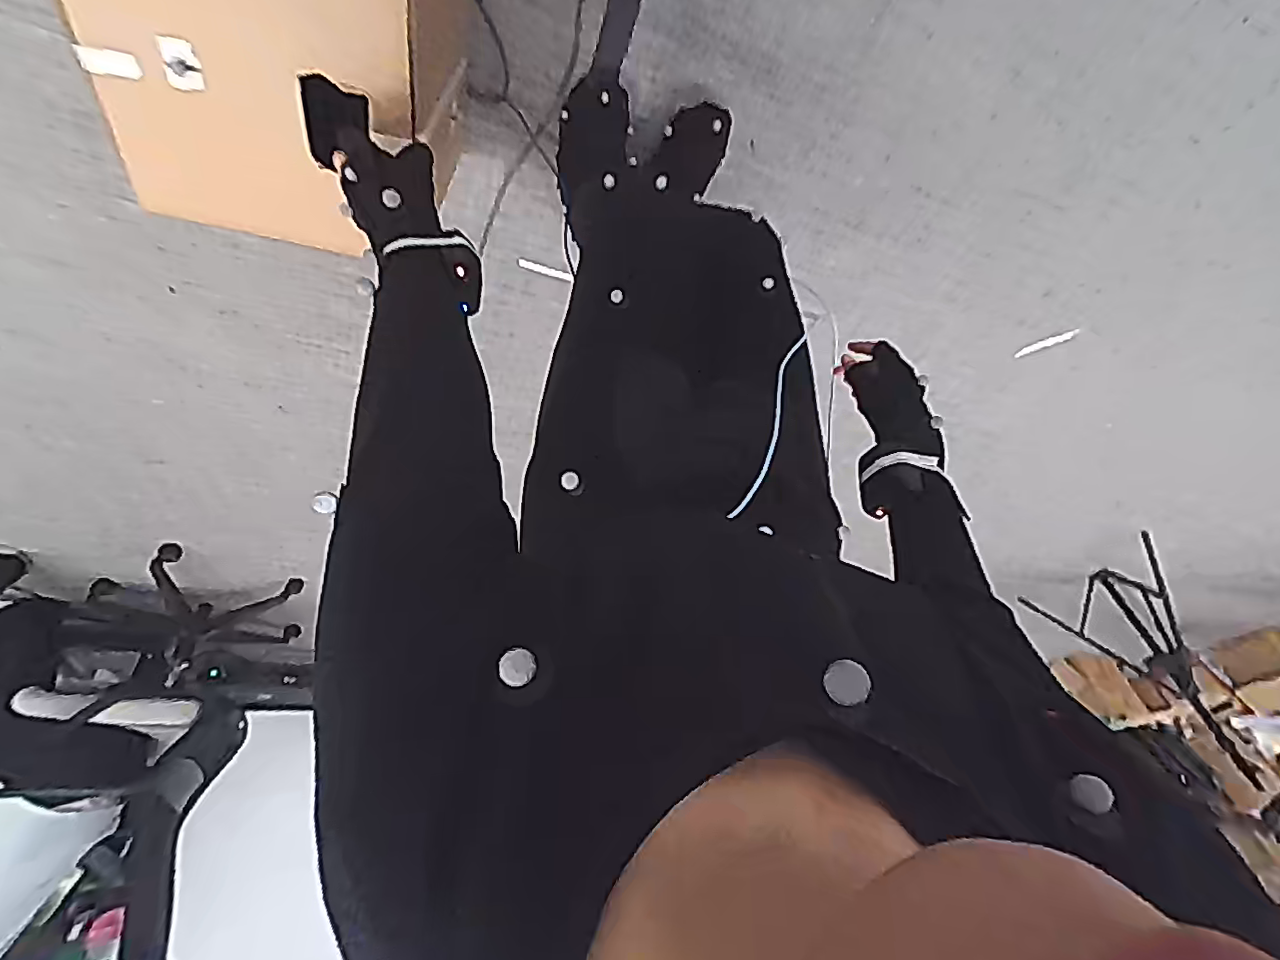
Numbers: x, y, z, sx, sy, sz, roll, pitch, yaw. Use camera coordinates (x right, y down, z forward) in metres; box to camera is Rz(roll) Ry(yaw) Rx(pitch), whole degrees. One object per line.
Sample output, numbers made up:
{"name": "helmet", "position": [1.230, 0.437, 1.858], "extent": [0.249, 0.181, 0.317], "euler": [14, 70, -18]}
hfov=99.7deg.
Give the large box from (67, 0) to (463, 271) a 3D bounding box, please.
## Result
{"name": "large box", "position": [-0.428, -0.547, 0.717], "extent": [0.320, 0.408, 0.320], "euler": [8, 139, -15]}
